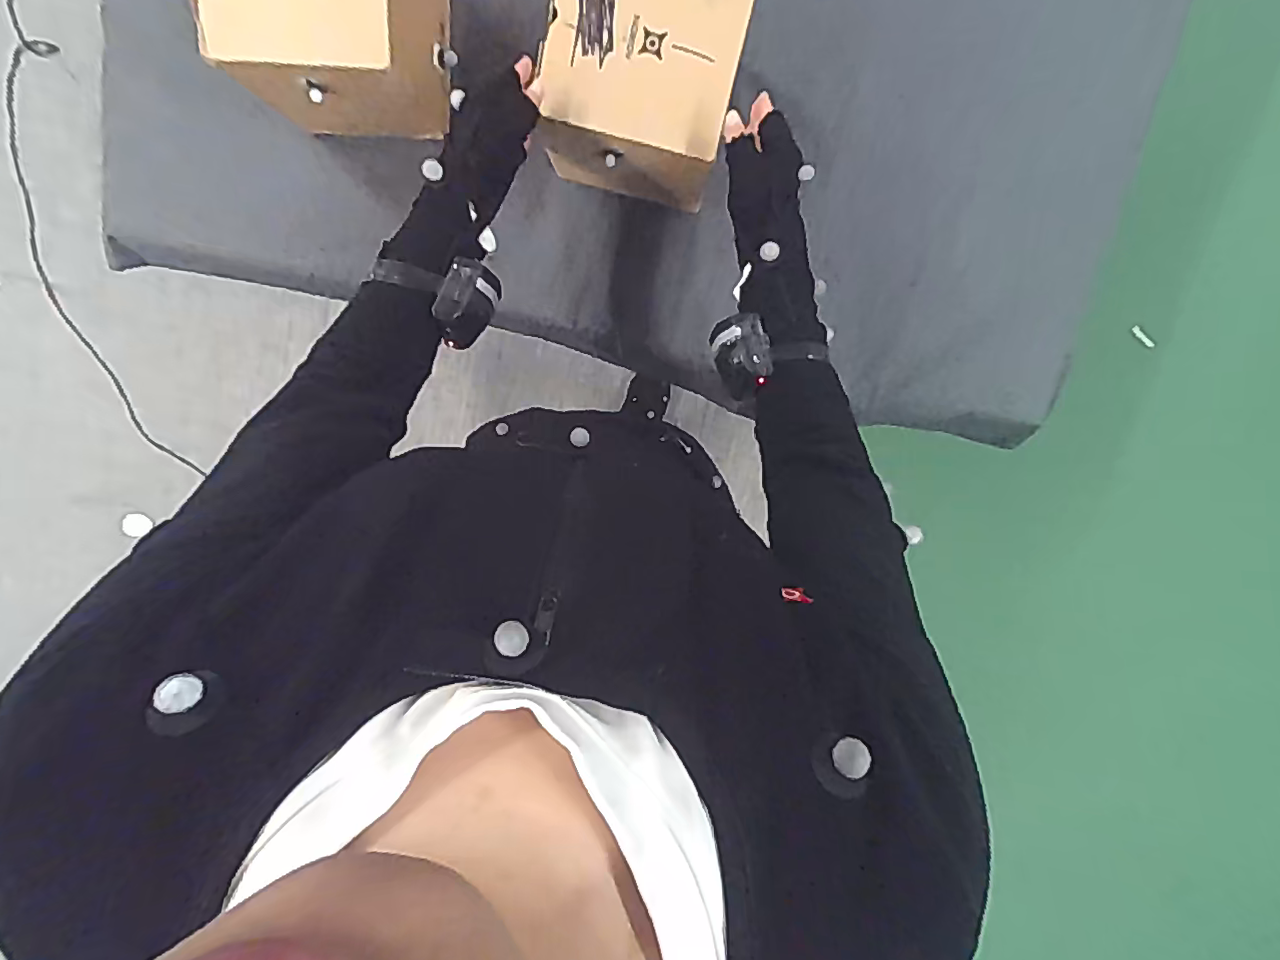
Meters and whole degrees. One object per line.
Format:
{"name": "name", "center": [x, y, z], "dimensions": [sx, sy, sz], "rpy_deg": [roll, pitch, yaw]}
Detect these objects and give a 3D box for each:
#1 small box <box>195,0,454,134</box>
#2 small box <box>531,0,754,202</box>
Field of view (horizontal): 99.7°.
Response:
{"name": "small box", "center": [-0.306, -0.477, 0.549], "dimensions": [0.179, 0.176, 0.168], "rpy_deg": [4, 103, -1]}
{"name": "small box", "center": [0.004, -0.410, 0.557], "dimensions": [0.179, 0.176, 0.168], "rpy_deg": [14, 102, -3]}
